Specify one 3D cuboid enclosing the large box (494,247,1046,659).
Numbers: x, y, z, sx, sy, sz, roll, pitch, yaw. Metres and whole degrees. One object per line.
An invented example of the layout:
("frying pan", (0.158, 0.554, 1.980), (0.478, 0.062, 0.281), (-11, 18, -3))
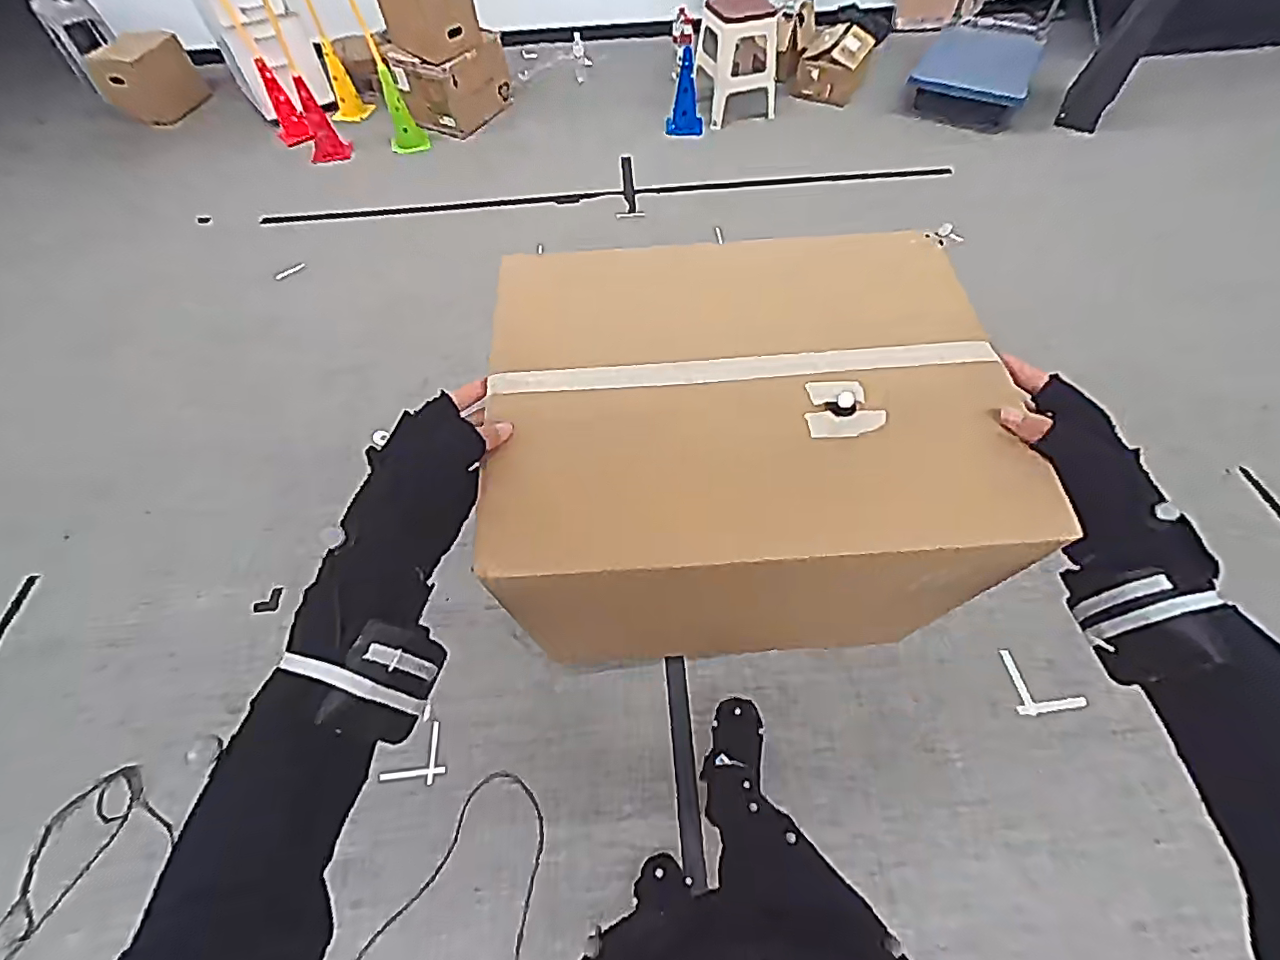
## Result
("large box", (0.084, -0.009, 0.580), (0.408, 0.320, 0.320), (-4, 62, -1))
